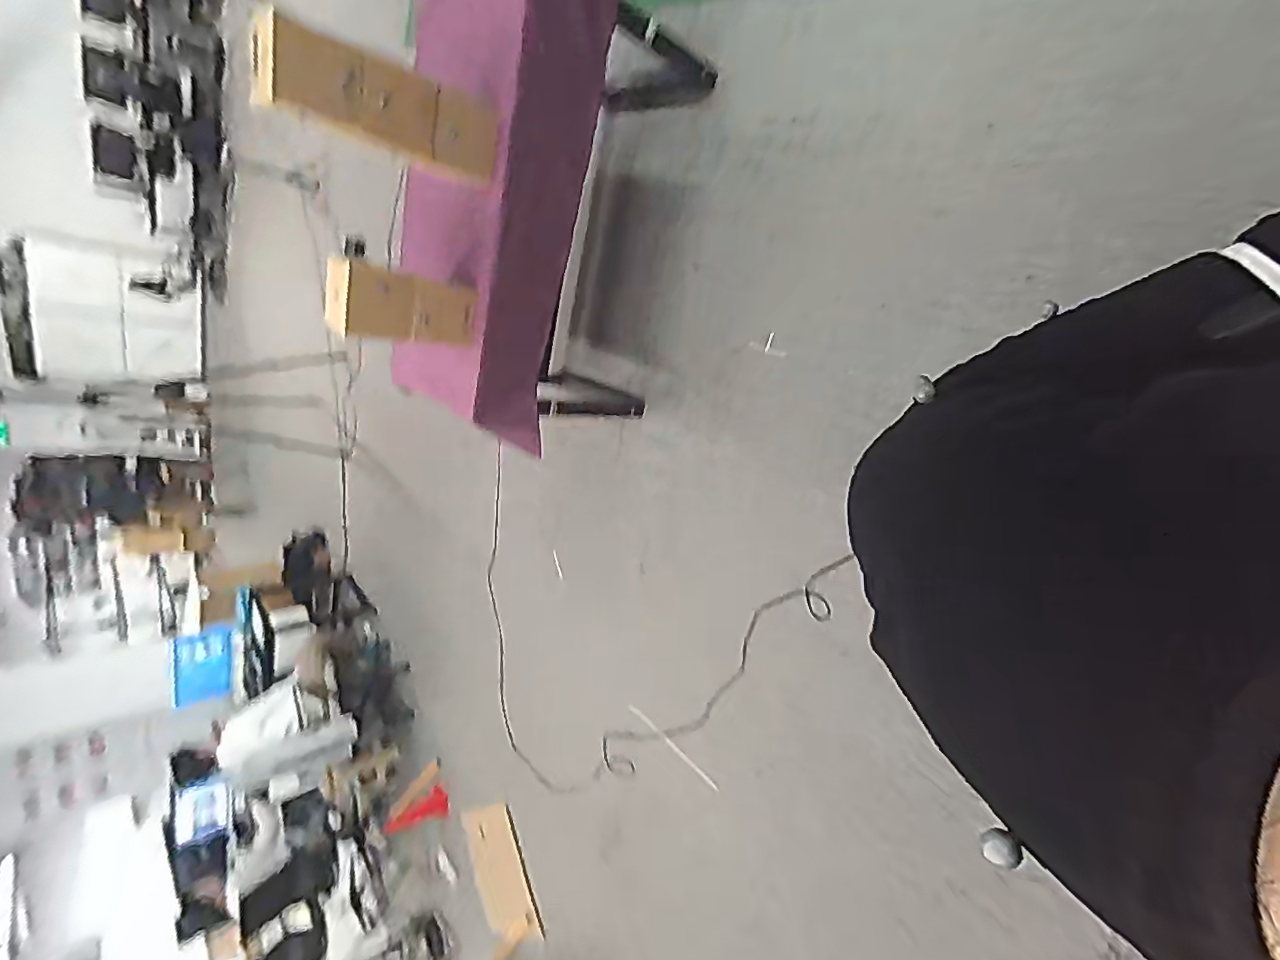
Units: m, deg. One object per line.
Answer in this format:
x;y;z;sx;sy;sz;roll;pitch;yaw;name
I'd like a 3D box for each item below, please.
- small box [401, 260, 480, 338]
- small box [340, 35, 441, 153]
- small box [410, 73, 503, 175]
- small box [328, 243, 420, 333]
-0.579;-0.508;1.532;0.179;0.176;0.168;32;115;39;small box
-0.585;-0.899;1.274;0.168;0.176;0.179;29;114;38;small box
-0.473;-0.907;1.392;0.168;0.176;0.179;30;113;38;small box
-0.693;-0.498;1.415;0.168;0.176;0.179;33;116;38;small box
